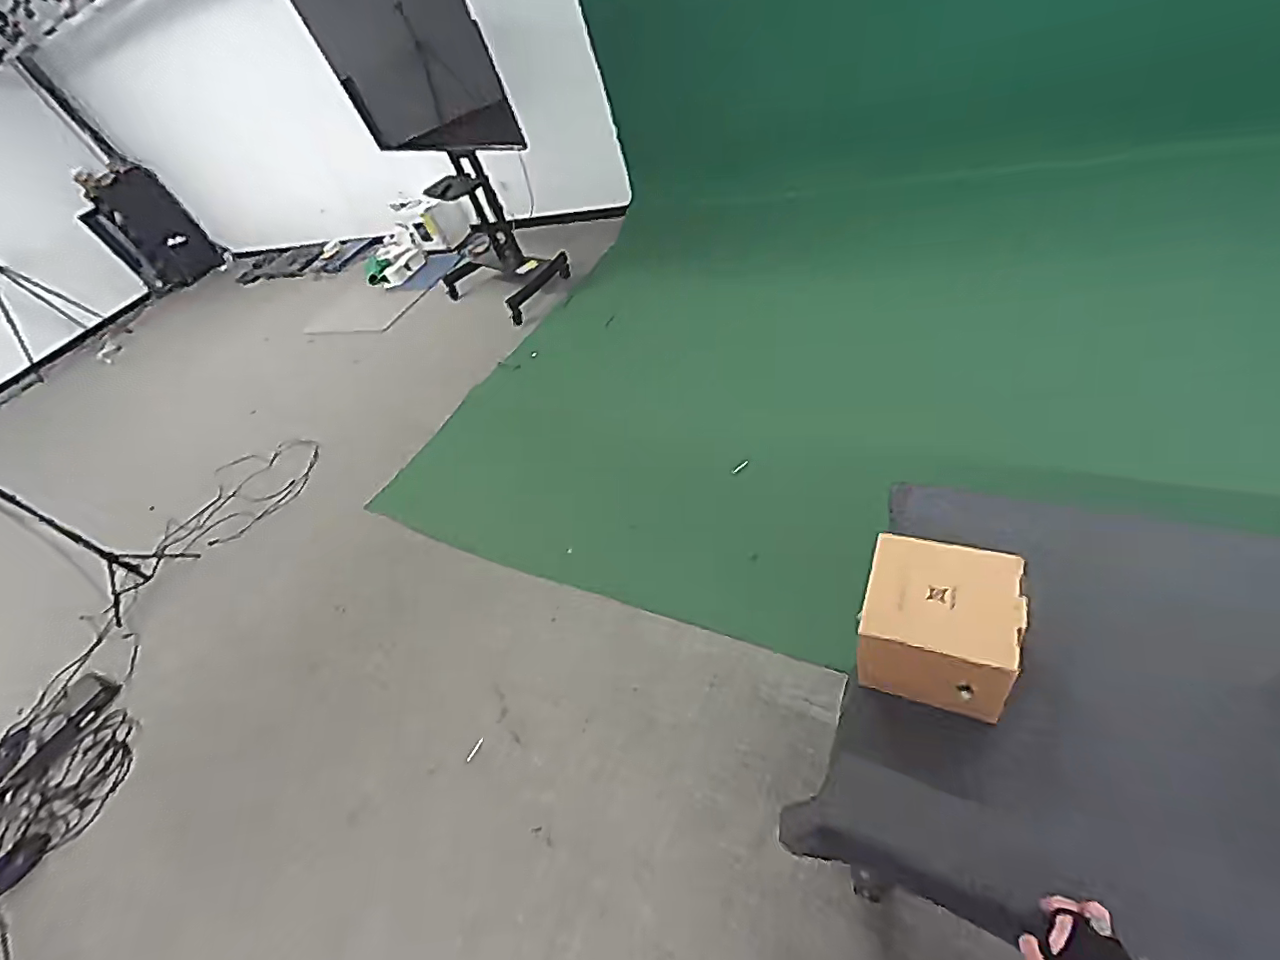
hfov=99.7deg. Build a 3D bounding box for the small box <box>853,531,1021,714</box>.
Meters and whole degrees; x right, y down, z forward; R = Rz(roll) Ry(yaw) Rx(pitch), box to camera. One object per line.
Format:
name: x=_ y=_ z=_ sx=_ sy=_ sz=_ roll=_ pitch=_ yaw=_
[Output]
small box: x=0.400 y=0.196 z=0.740 sx=0.179 sy=0.176 sz=0.168 roll=7 pitch=51 yaw=29
